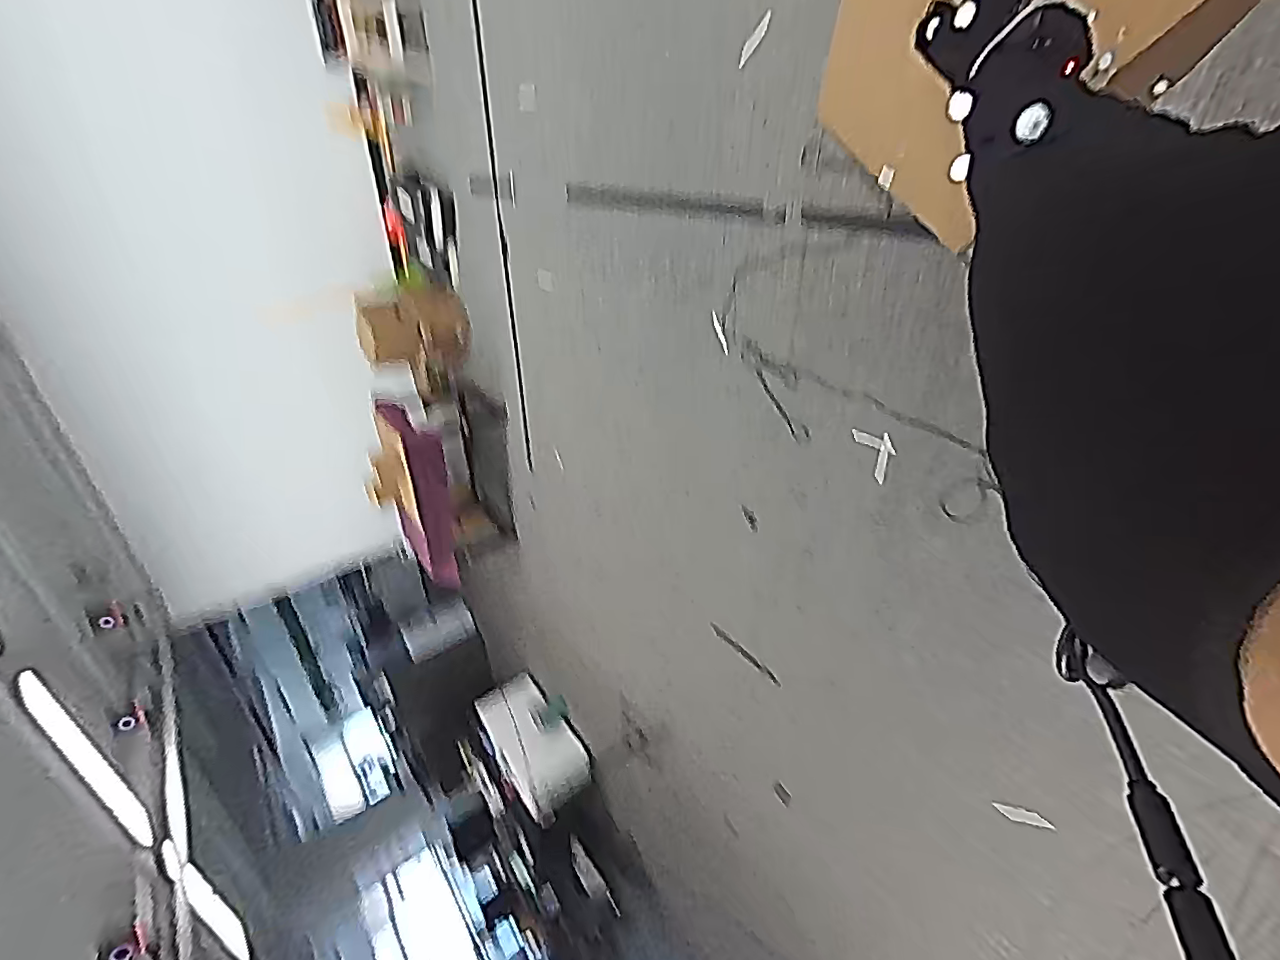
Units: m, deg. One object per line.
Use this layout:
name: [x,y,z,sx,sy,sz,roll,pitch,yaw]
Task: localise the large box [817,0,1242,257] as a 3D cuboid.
large box: [0.494,-0.580,0.671,0.320,0.408,0.320,51,-176,12]
